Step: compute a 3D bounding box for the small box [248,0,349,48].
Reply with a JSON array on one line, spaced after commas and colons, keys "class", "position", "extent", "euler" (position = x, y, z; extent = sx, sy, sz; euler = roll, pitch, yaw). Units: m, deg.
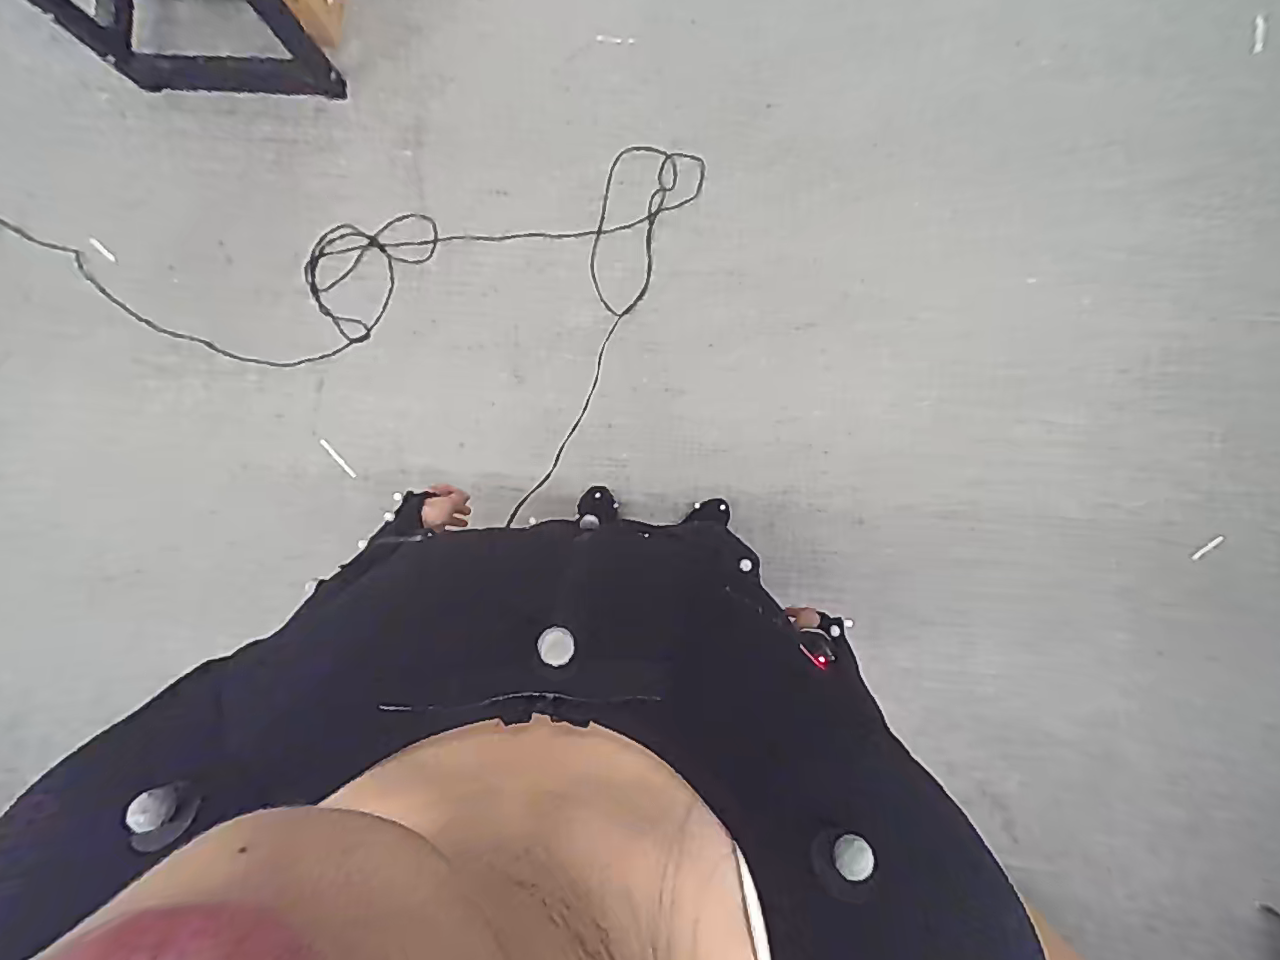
[{"class": "small box", "position": [-0.900, -1.287, 1.425], "extent": [0.179, 0.176, 0.168], "euler": [7, 91, 1]}]
